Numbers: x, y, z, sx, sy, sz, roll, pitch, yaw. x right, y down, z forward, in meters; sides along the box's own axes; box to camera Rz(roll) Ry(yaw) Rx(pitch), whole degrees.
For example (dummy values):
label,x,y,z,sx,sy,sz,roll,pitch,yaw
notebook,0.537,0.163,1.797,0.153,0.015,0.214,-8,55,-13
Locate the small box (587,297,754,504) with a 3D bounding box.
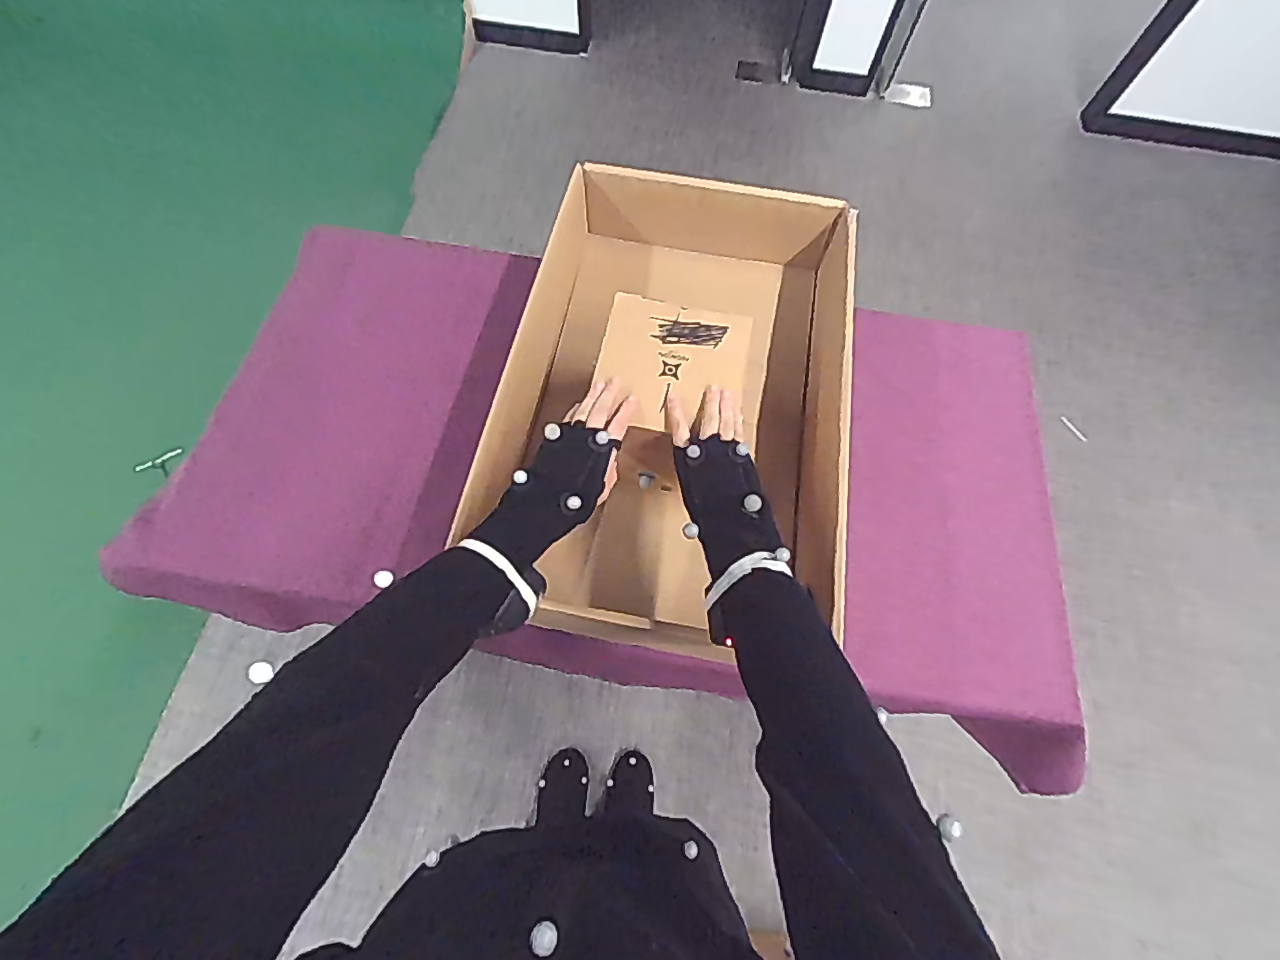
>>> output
label,x,y,z,sx,sy,sz,roll,pitch,yaw
small box,0.034,-0.091,0.673,0.168,0.176,0.179,11,67,2
